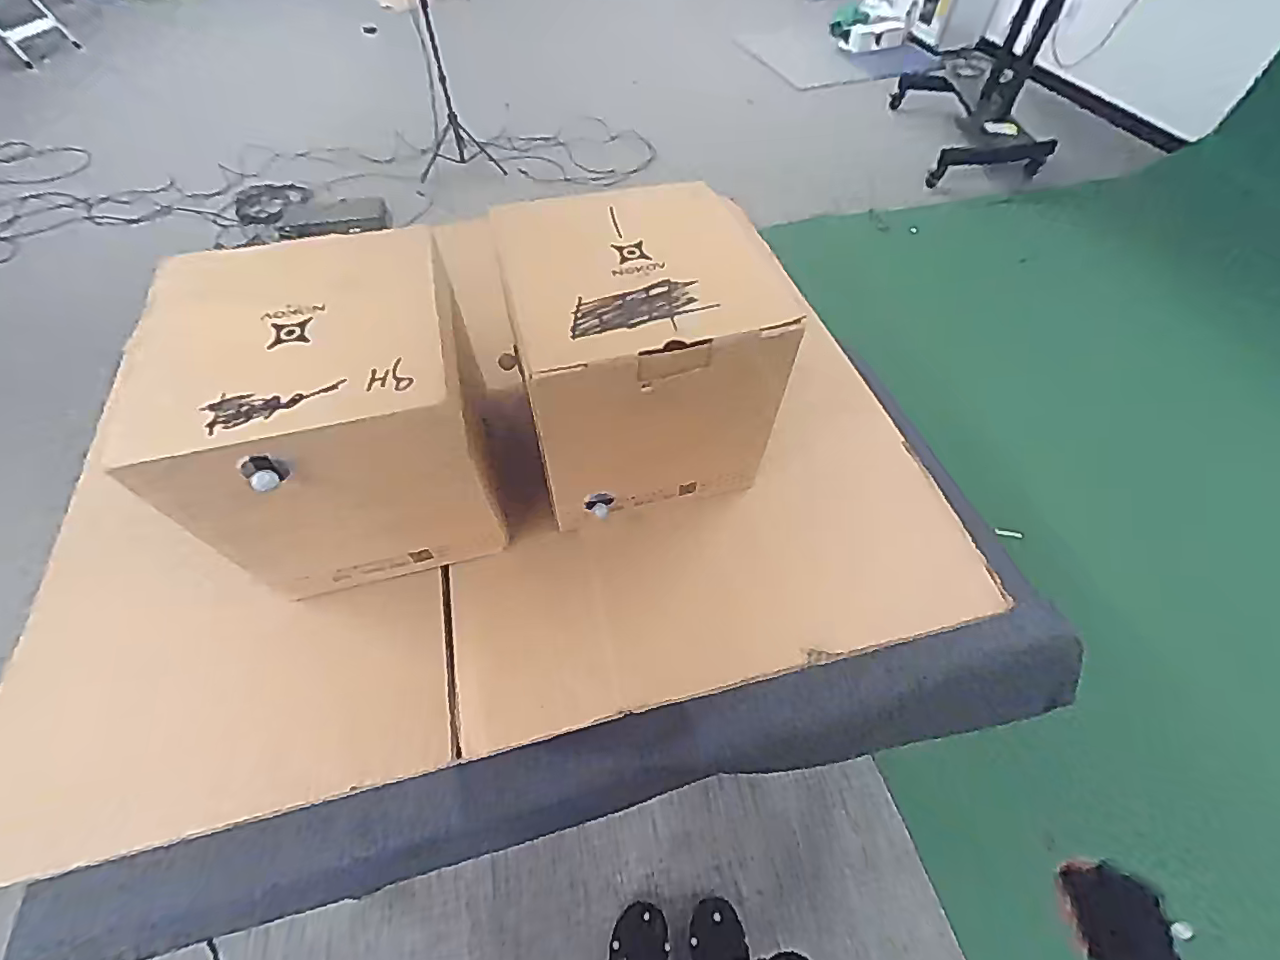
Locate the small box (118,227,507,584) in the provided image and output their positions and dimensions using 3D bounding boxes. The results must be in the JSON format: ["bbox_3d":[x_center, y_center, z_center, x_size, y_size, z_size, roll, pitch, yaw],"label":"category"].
[{"bbox_3d":[-0.202,-0.051,0.393,0.168,0.176,0.179,-13,55,-7],"label":"small box"}]
